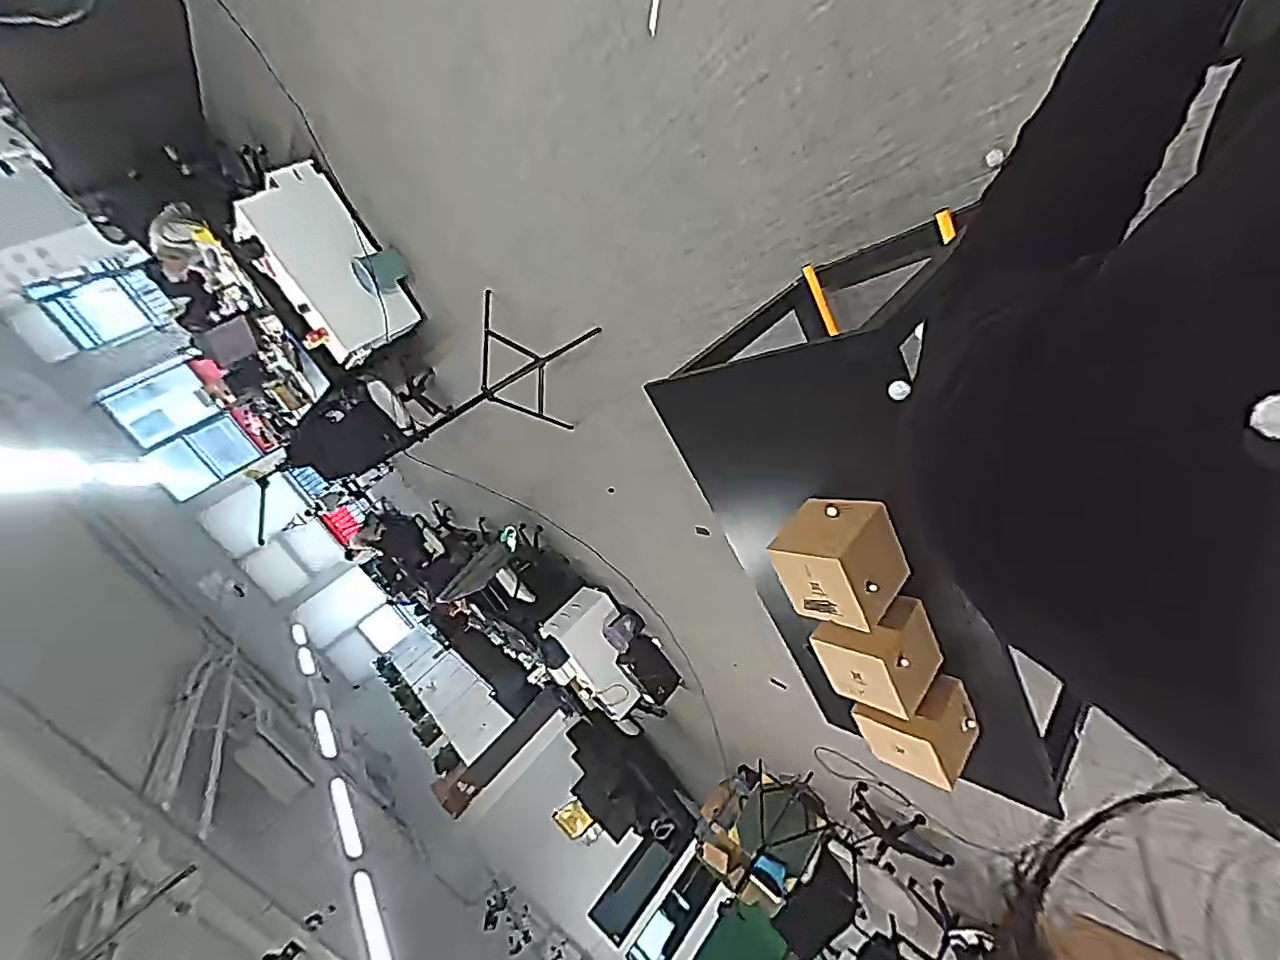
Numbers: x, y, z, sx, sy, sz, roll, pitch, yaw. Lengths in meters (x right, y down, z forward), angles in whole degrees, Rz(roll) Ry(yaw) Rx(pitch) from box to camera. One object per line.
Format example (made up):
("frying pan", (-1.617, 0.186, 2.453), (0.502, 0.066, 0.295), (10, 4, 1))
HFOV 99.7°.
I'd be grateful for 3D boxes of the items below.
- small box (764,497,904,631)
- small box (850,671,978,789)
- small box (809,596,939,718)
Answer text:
("small box", (0.379, 0.154, 1.042), (0.168, 0.176, 0.179), (1, 126, 55))
("small box", (0.606, 0.525, 1.193), (0.179, 0.176, 0.168), (-1, 126, 55))
("small box", (0.491, 0.349, 1.129), (0.168, 0.176, 0.179), (2, 128, 55))
